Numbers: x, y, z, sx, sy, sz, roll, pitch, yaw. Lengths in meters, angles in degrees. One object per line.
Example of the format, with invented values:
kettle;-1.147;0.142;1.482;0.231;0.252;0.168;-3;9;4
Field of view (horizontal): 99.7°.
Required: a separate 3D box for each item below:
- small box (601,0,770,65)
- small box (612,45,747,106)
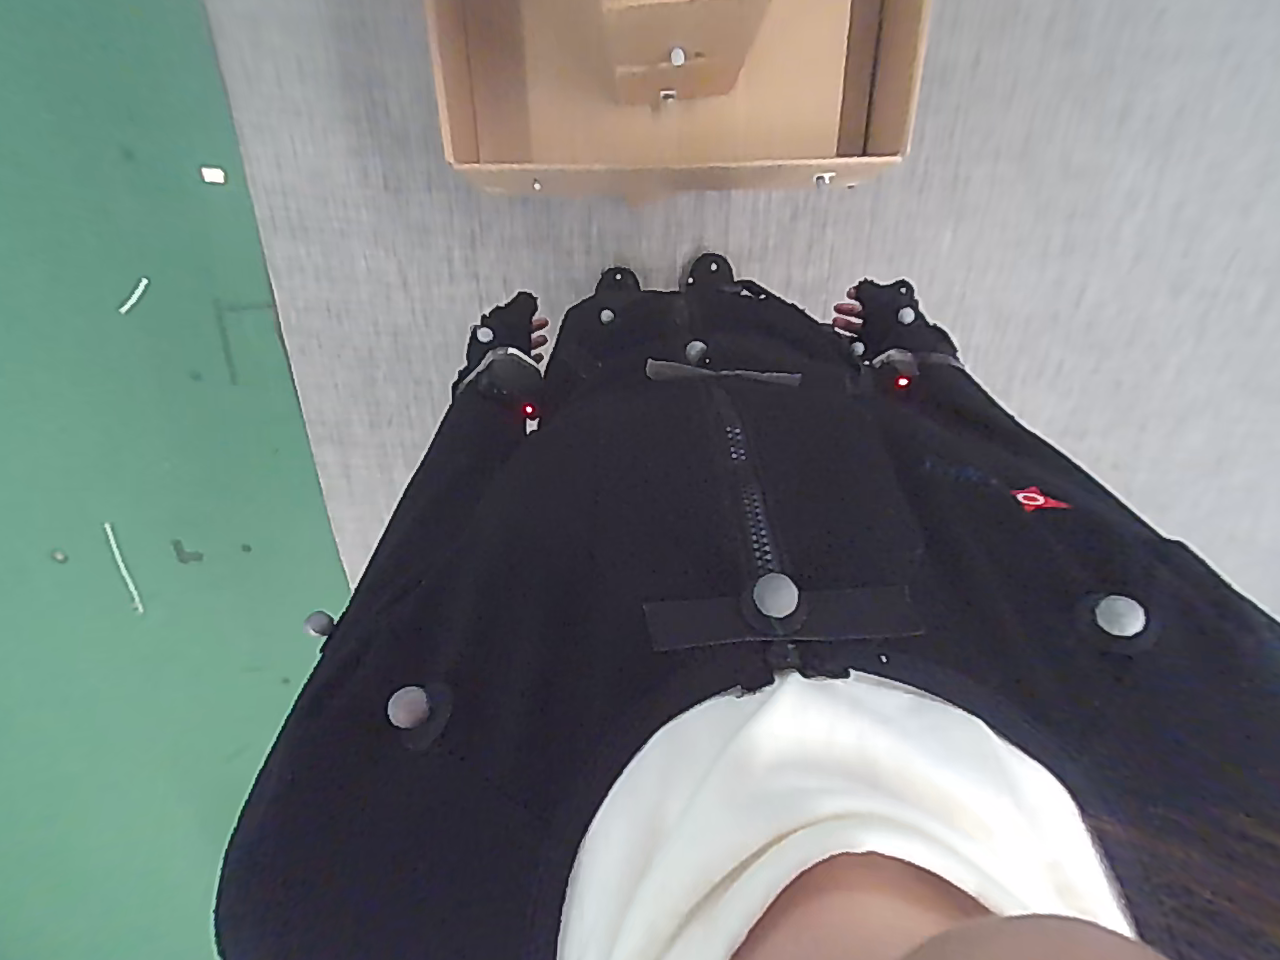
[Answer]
small box;0.041;-0.559;0.549;0.168;0.176;0.179;-2;112;3
small box;0.044;-0.617;0.702;0.168;0.176;0.179;-4;112;4
